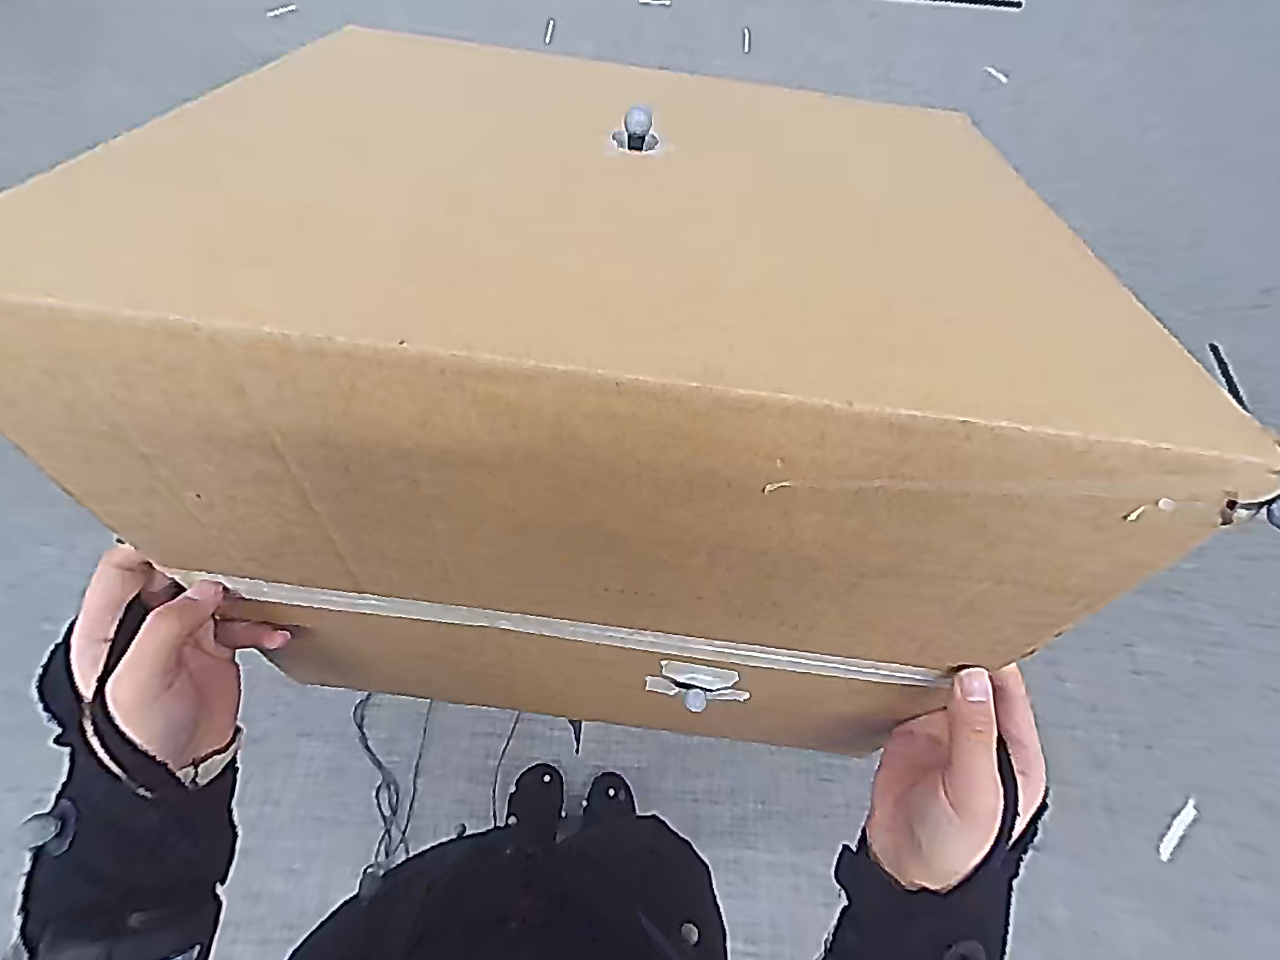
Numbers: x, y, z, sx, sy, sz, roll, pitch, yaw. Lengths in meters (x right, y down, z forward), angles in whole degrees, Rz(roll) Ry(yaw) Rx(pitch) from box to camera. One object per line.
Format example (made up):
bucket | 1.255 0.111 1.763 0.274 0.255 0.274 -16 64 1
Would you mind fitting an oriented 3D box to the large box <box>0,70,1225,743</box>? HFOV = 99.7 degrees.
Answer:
large box | -0.019 -0.044 0.372 0.408 0.320 0.320 7 51 0
